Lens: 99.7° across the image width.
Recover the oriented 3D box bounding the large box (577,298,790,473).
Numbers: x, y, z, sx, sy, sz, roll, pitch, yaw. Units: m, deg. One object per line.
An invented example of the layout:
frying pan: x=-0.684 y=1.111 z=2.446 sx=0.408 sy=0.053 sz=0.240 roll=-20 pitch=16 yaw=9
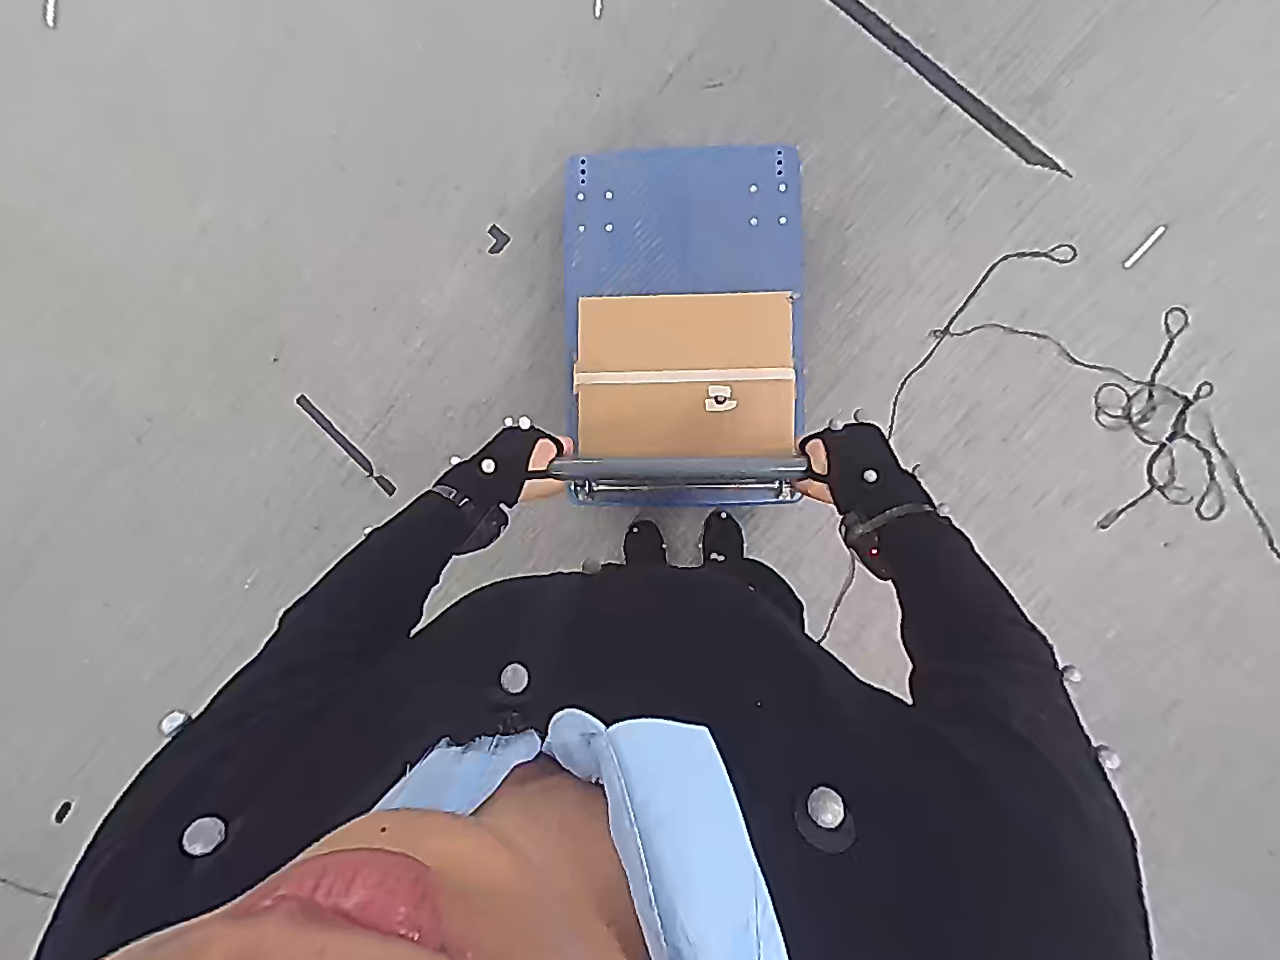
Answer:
large box: x=0.086 y=-0.181 z=1.172 sx=0.408 sy=0.320 sz=0.320 roll=-1 pitch=89 yaw=3
